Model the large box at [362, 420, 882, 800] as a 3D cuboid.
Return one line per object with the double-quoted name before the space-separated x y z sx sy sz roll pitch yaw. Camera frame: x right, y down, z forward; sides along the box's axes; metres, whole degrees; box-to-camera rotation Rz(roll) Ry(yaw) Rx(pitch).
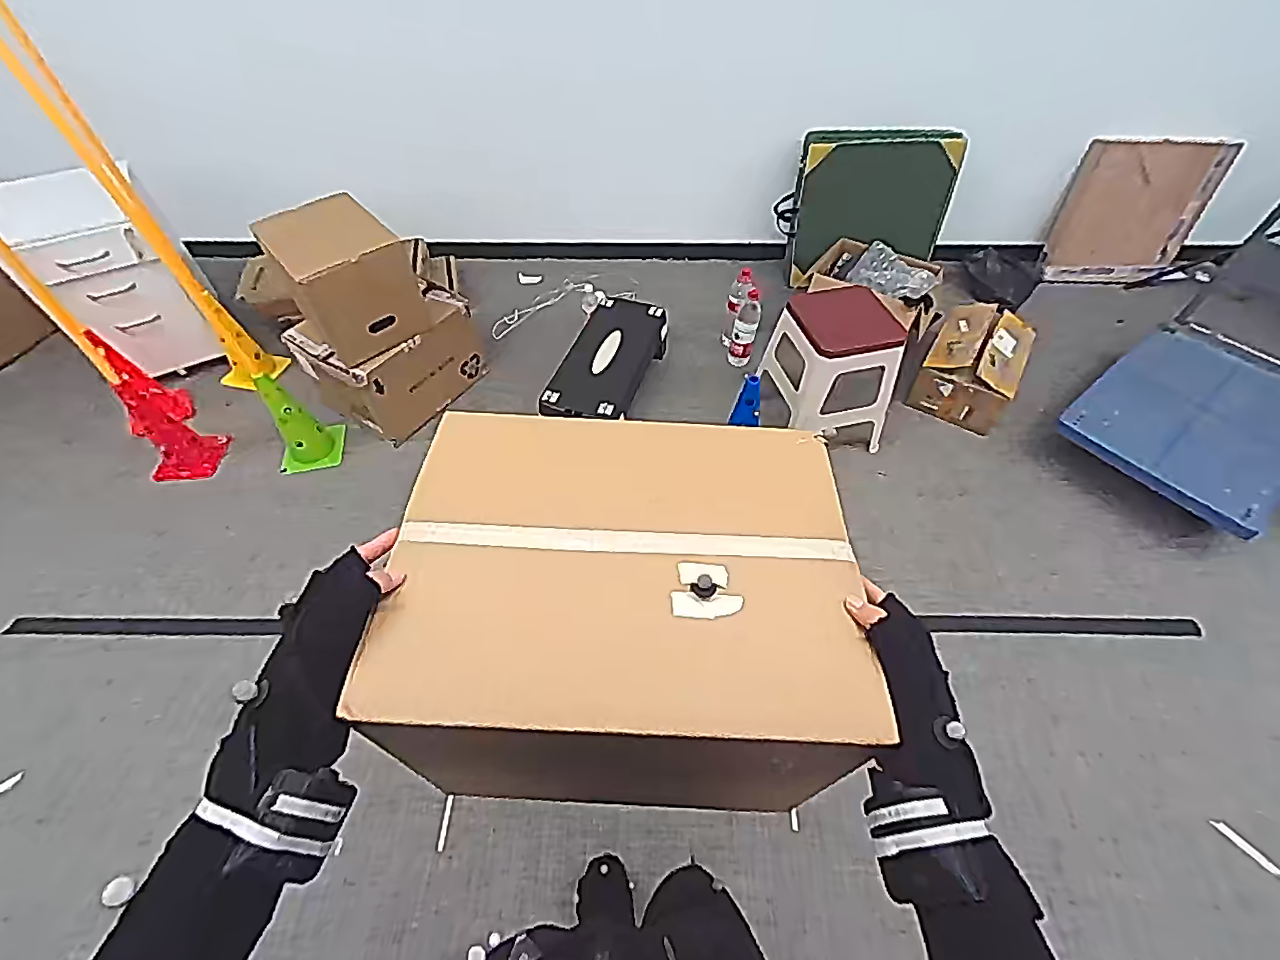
"large box" -0.016 0.155 0.613 0.408 0.320 0.320 3 51 0
